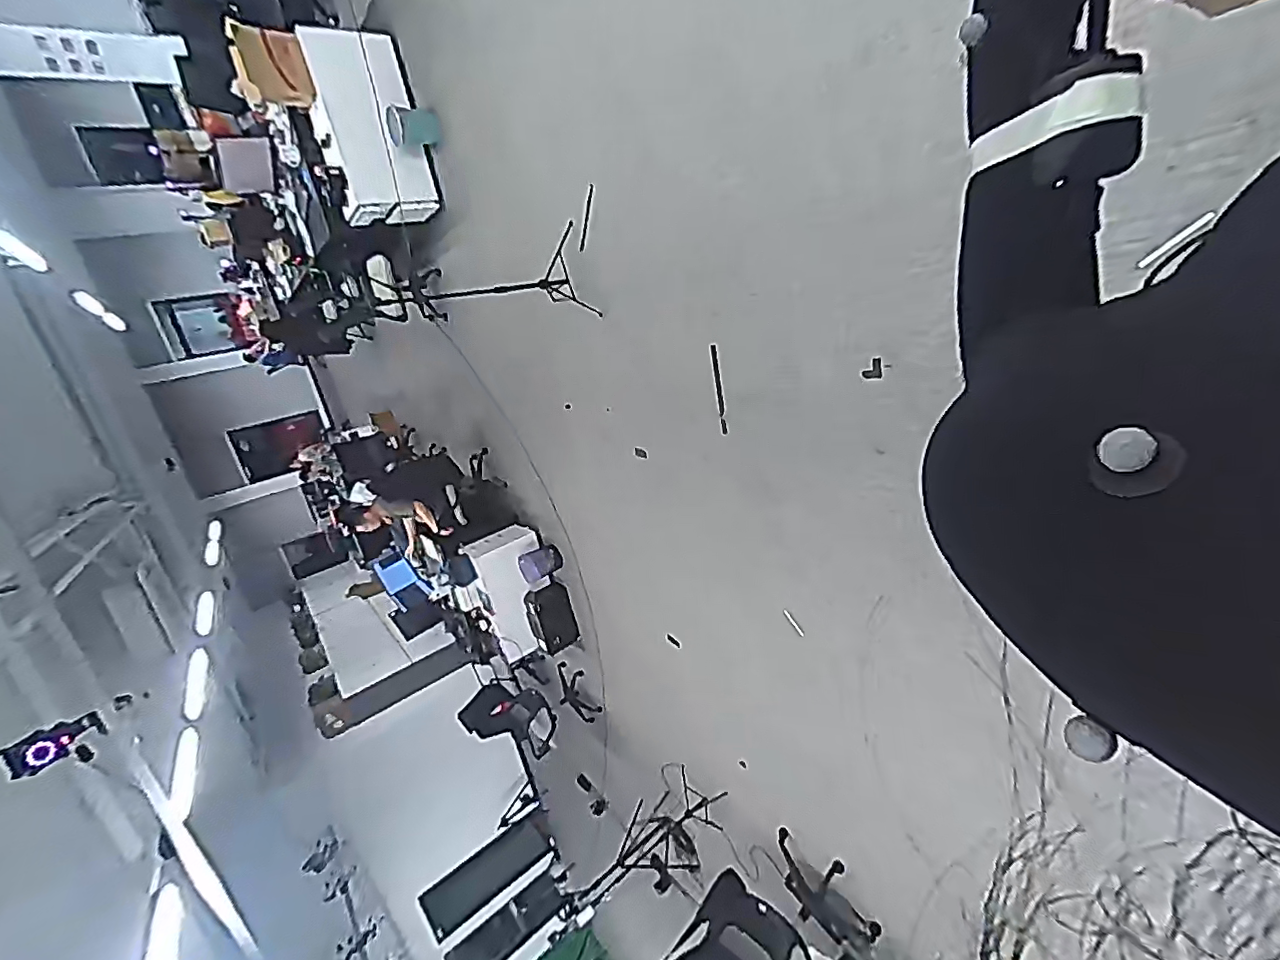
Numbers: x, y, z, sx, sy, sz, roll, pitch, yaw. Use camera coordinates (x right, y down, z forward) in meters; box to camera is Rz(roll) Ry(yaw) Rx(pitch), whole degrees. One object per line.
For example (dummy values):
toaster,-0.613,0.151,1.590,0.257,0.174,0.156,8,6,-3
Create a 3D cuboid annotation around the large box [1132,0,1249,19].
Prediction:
large box,0.474,-0.463,0.199,0.408,0.320,0.320,9,120,49
